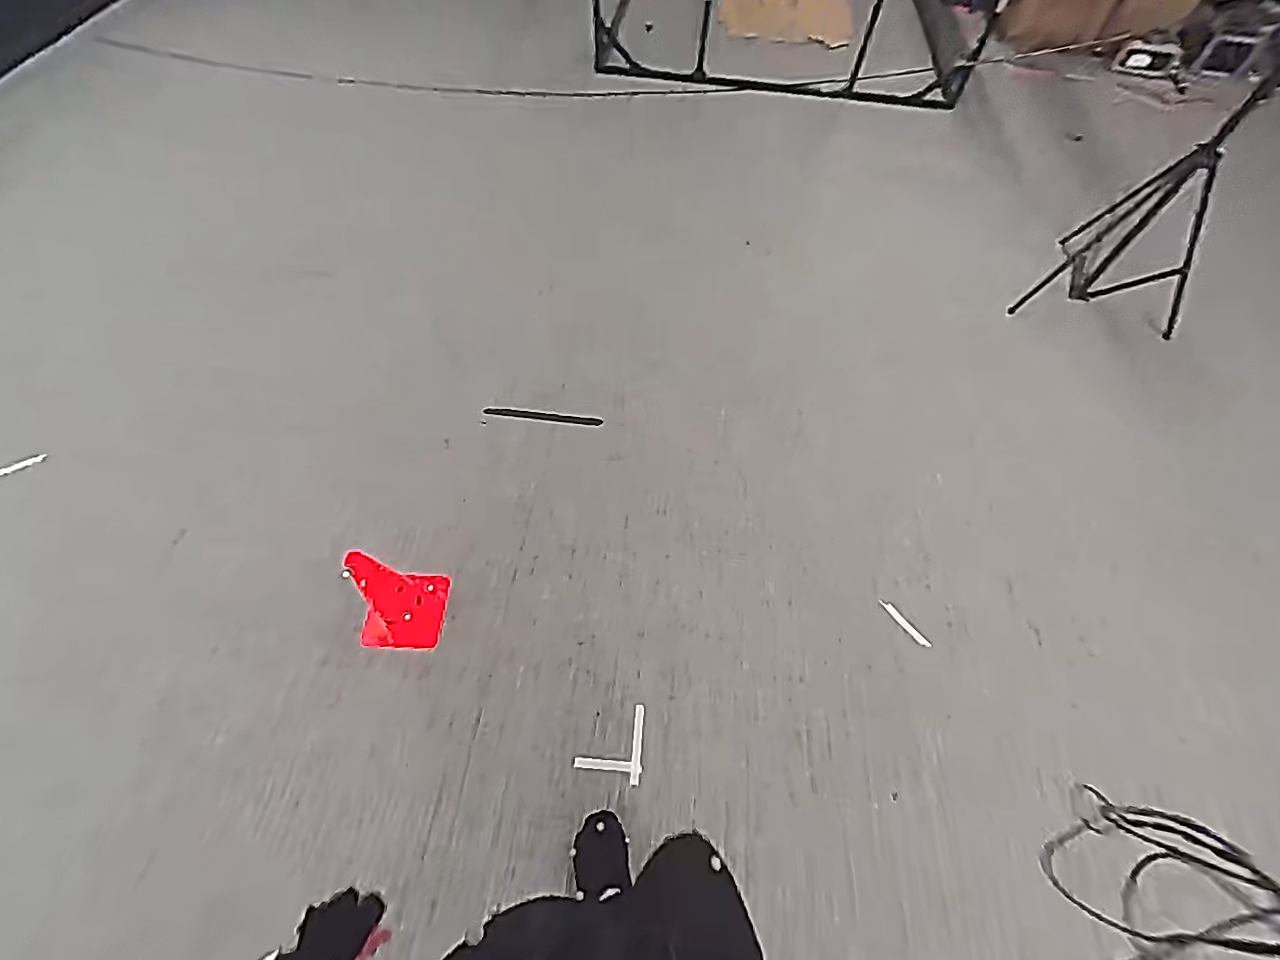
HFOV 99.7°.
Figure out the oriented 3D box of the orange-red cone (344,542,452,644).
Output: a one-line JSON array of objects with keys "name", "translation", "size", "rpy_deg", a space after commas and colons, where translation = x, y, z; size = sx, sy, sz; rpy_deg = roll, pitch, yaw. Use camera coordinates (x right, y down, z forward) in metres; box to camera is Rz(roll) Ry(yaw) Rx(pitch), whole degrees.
[{"name": "orange-red cone", "translation": [-0.608, 0.240, 1.279], "size": [0.199, 0.360, 0.198], "rpy_deg": [3, 58, 1]}]
